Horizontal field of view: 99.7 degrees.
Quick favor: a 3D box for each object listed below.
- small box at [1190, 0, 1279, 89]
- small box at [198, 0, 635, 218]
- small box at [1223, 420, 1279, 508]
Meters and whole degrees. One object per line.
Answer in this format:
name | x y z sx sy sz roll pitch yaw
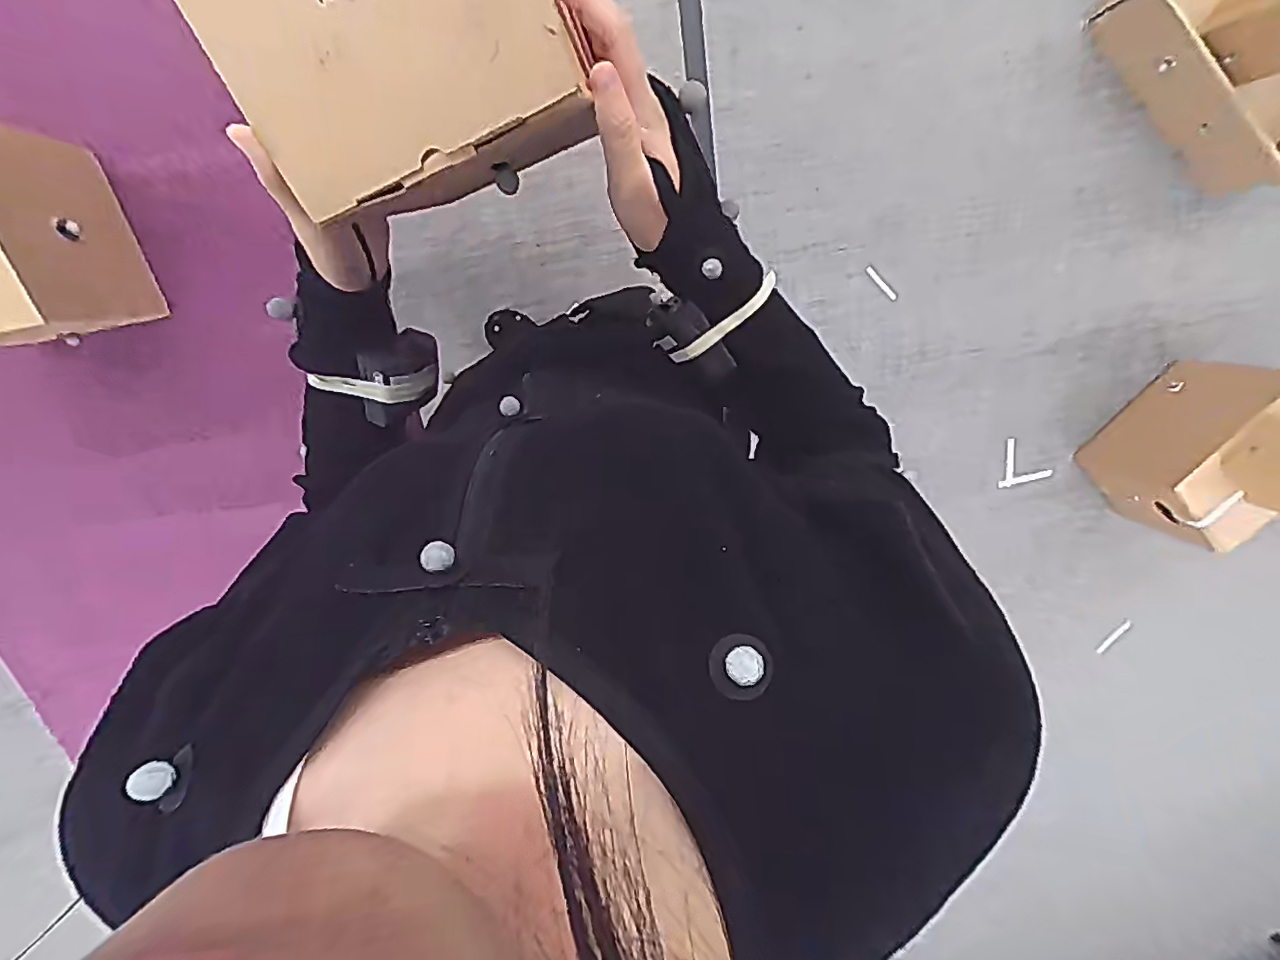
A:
small box | 1.429 -1.046 1.224 0.168 0.176 0.179 37 101 -16
small box | -0.111 -0.272 0.296 0.168 0.176 0.179 -15 118 16
small box | 1.595 -0.030 1.309 0.179 0.176 0.168 40 100 -17
